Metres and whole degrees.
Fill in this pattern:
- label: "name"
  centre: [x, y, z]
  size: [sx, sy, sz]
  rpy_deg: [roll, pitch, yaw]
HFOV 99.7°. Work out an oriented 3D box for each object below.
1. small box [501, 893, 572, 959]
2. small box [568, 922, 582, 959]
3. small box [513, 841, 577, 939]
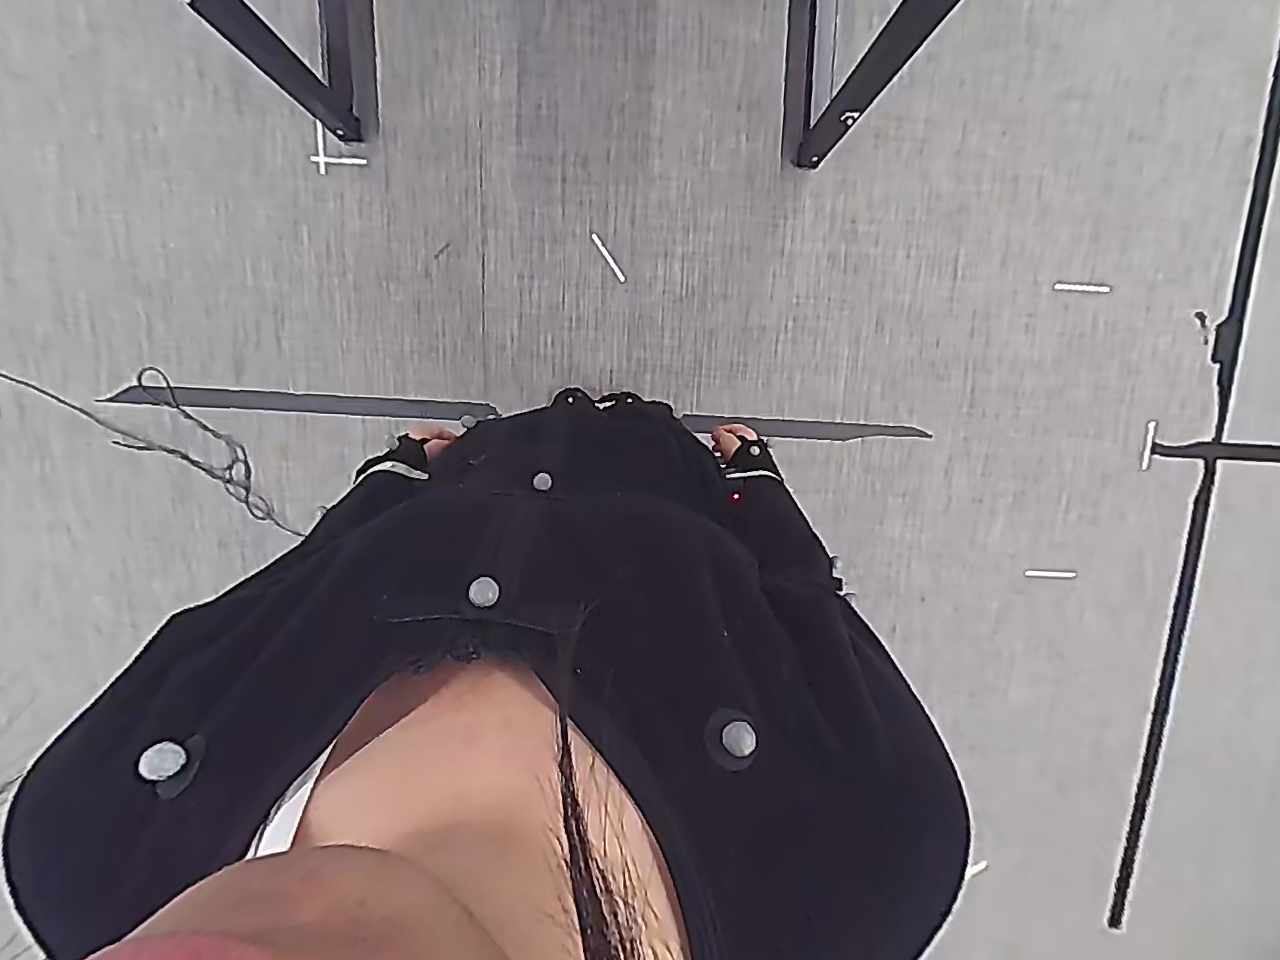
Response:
- label: "small box"
  centre: [-0.272, 1.239, 1.431]
  size: [0.168, 0.176, 0.179]
  rpy_deg: [3, 100, -3]
- label: "small box"
  centre: [-0.267, 1.477, 1.637]
  size: [0.168, 0.176, 0.179]
  rpy_deg: [-5, 99, -1]
- label: "small box"
  centre: [-0.275, 1.199, 1.591]
  size: [0.168, 0.176, 0.179]
  rpy_deg: [0, 100, -2]
